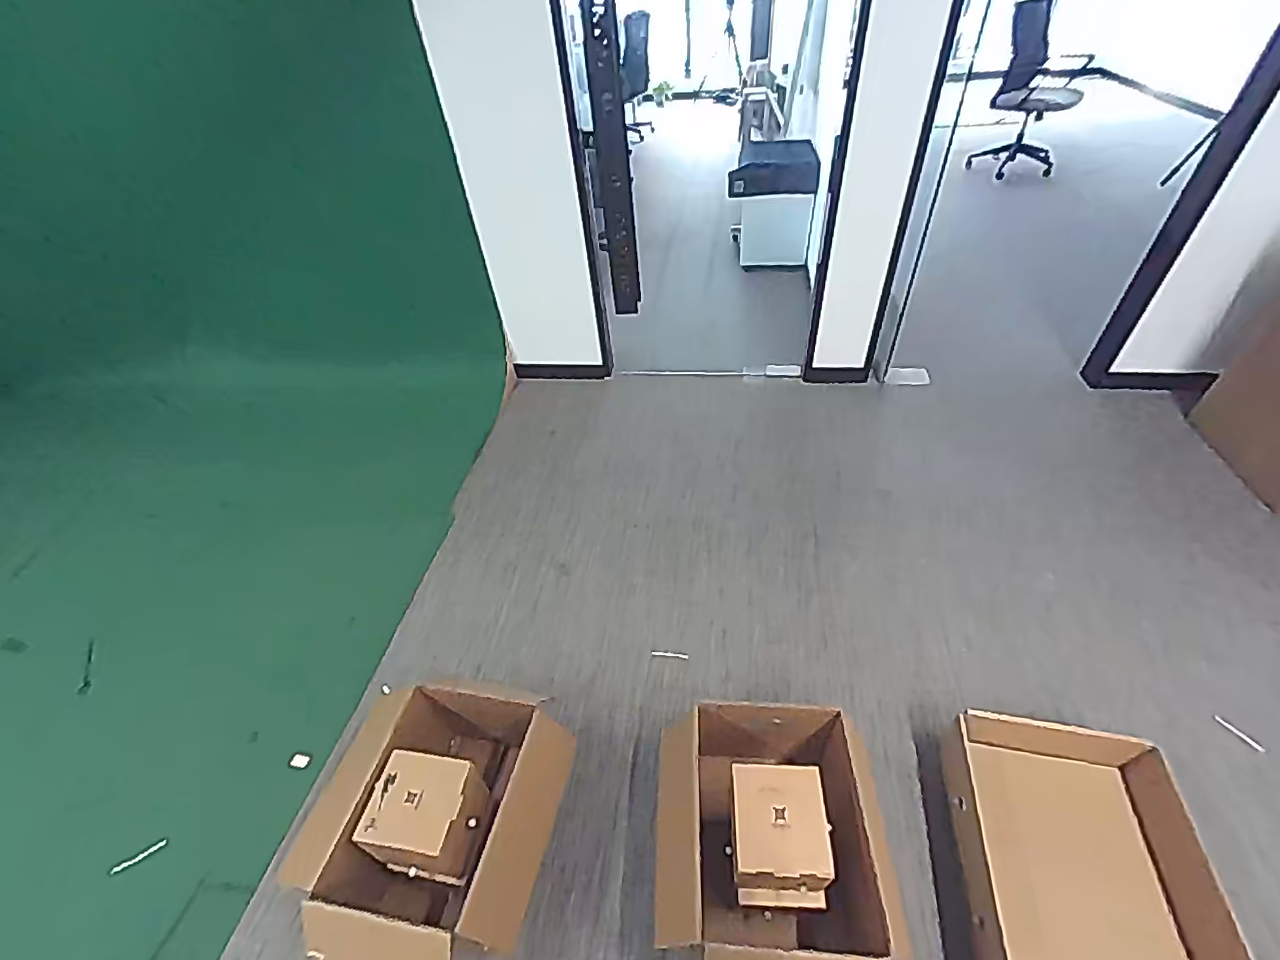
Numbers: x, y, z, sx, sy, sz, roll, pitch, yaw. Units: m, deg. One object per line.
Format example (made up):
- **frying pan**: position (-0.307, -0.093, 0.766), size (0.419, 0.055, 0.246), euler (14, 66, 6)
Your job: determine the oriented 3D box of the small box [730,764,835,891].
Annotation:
- **small box**: position (0.262, 0.666, 1.033), size (0.168, 0.176, 0.179), euler (0, 46, 5)
